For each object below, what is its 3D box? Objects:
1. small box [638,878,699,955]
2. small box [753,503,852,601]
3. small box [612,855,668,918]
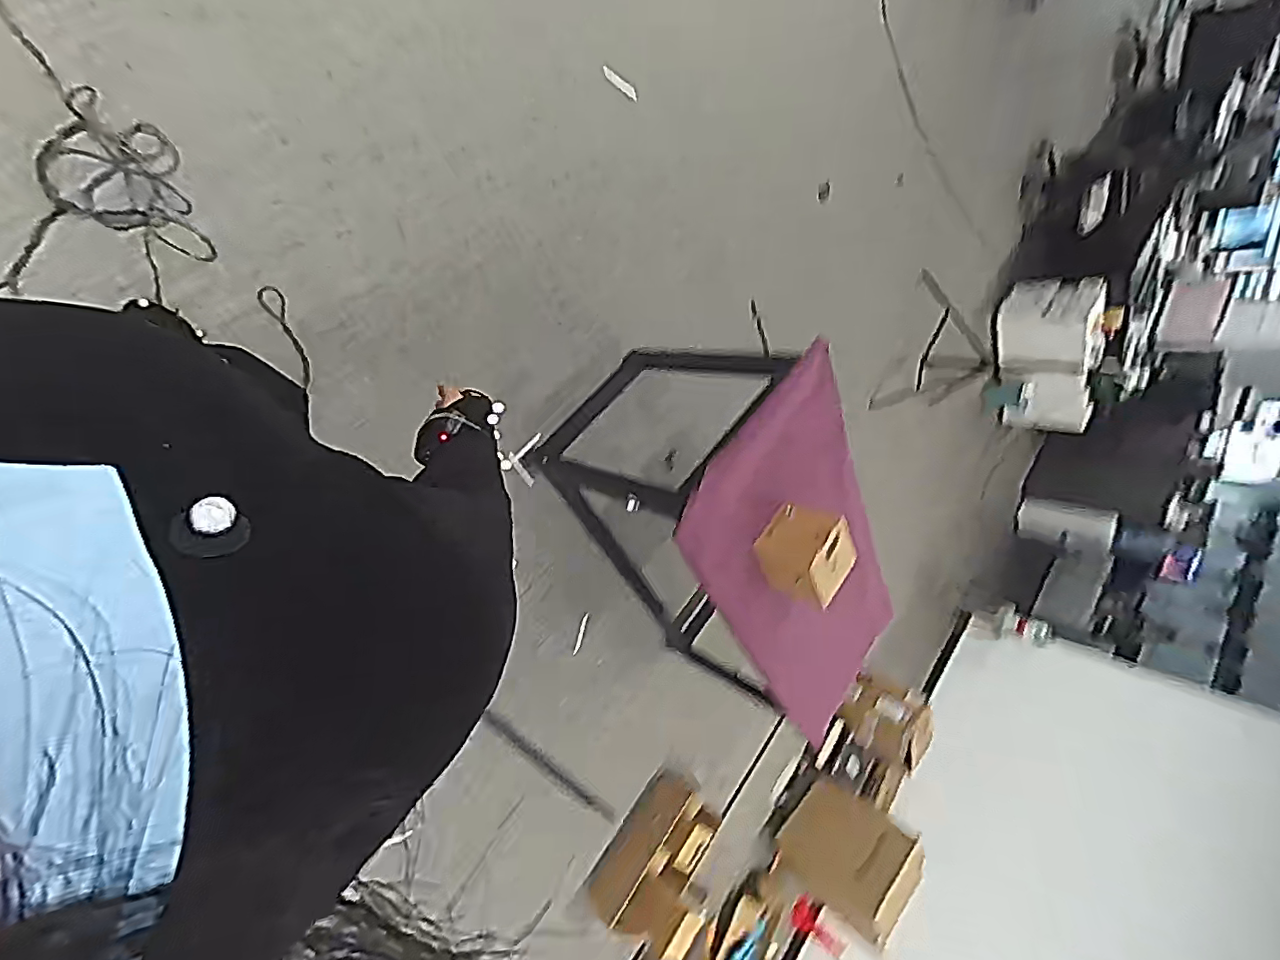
[{"bbox_3d":[0.112,1.844,2.286,0.179,0.176,0.168,-51,129,-21],"label":"small box"},{"bbox_3d":[0.419,0.178,1.403,0.168,0.176,0.179,-47,129,-22],"label":"small box"},{"bbox_3d":[0.004,1.816,2.404,0.168,0.176,0.179,-50,130,-20],"label":"small box"}]
